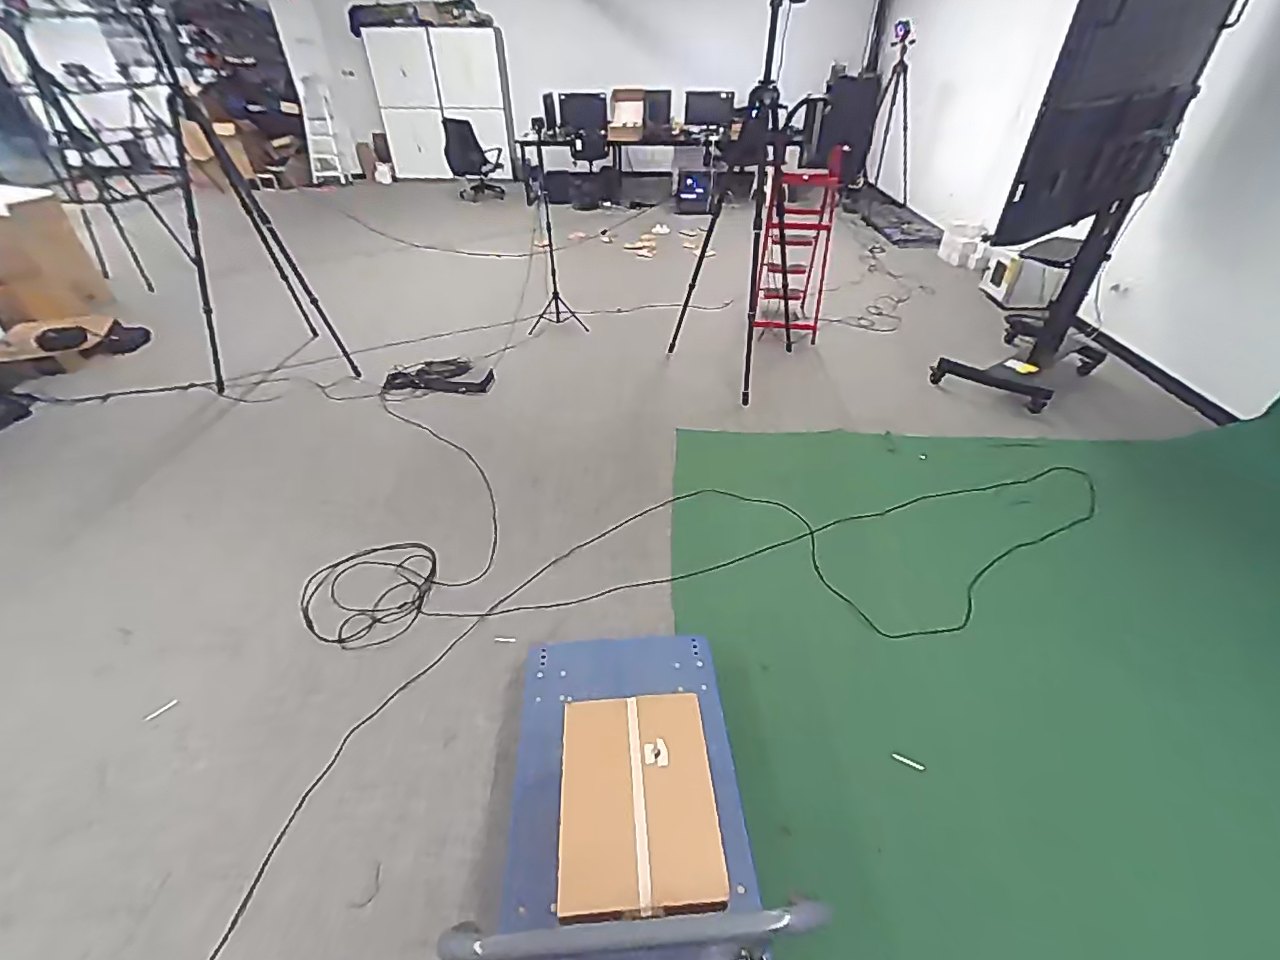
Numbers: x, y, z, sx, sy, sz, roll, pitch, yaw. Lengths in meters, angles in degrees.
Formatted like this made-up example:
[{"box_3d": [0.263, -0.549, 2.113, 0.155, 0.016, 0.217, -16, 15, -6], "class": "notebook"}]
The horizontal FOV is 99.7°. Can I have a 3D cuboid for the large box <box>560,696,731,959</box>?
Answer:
[{"box_3d": [-0.003, 0.758, 1.200, 0.320, 0.320, 0.408, -3, 37, -4], "class": "large box"}]
